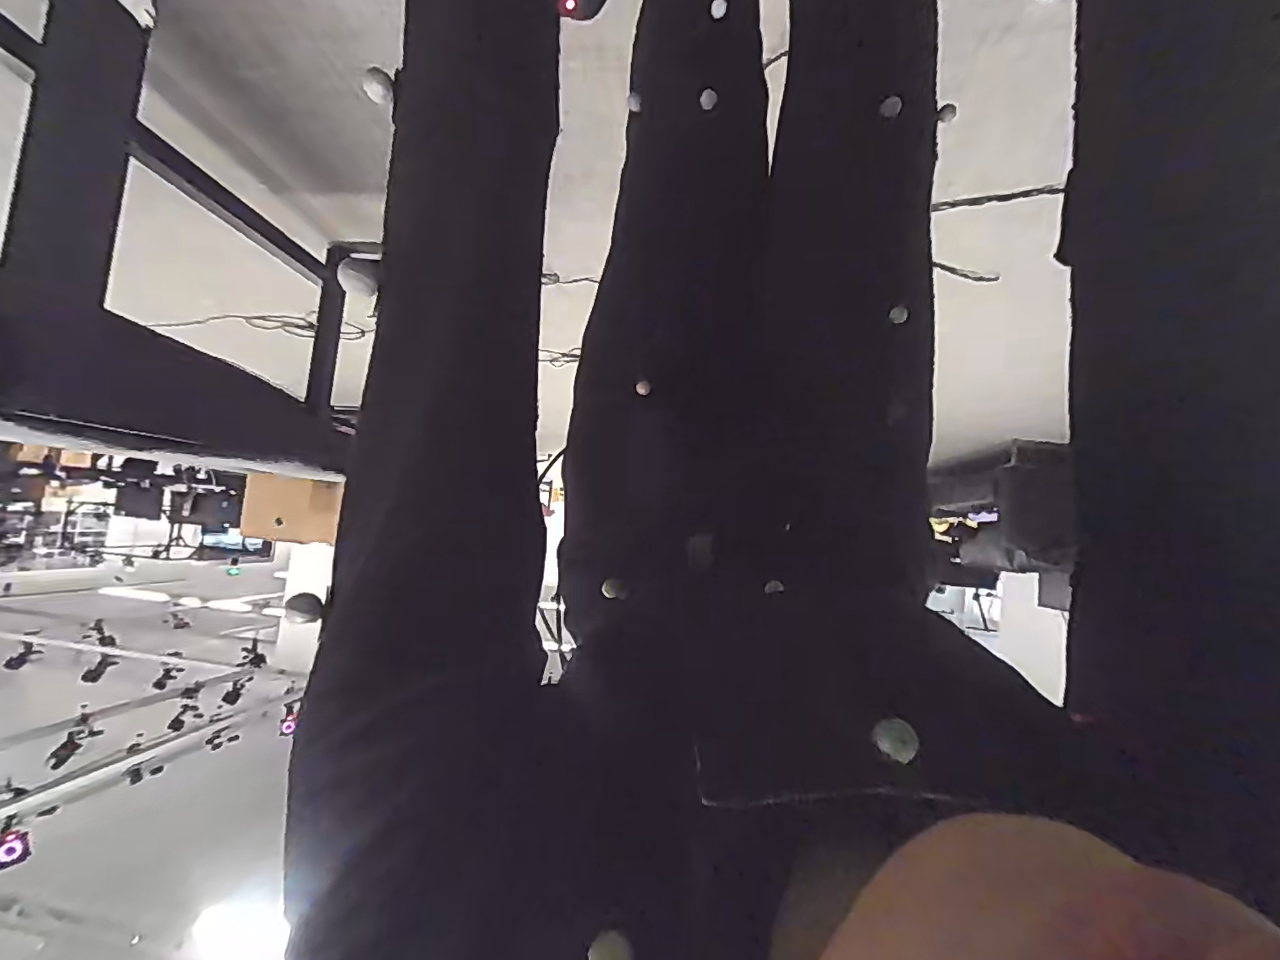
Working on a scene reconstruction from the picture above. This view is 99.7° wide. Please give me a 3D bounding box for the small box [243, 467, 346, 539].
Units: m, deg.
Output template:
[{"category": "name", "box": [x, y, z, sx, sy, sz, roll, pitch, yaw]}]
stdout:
[{"category": "small box", "box": [-0.880, 0.060, 1.402, 0.179, 0.176, 0.168, 5, 176, 5]}]
